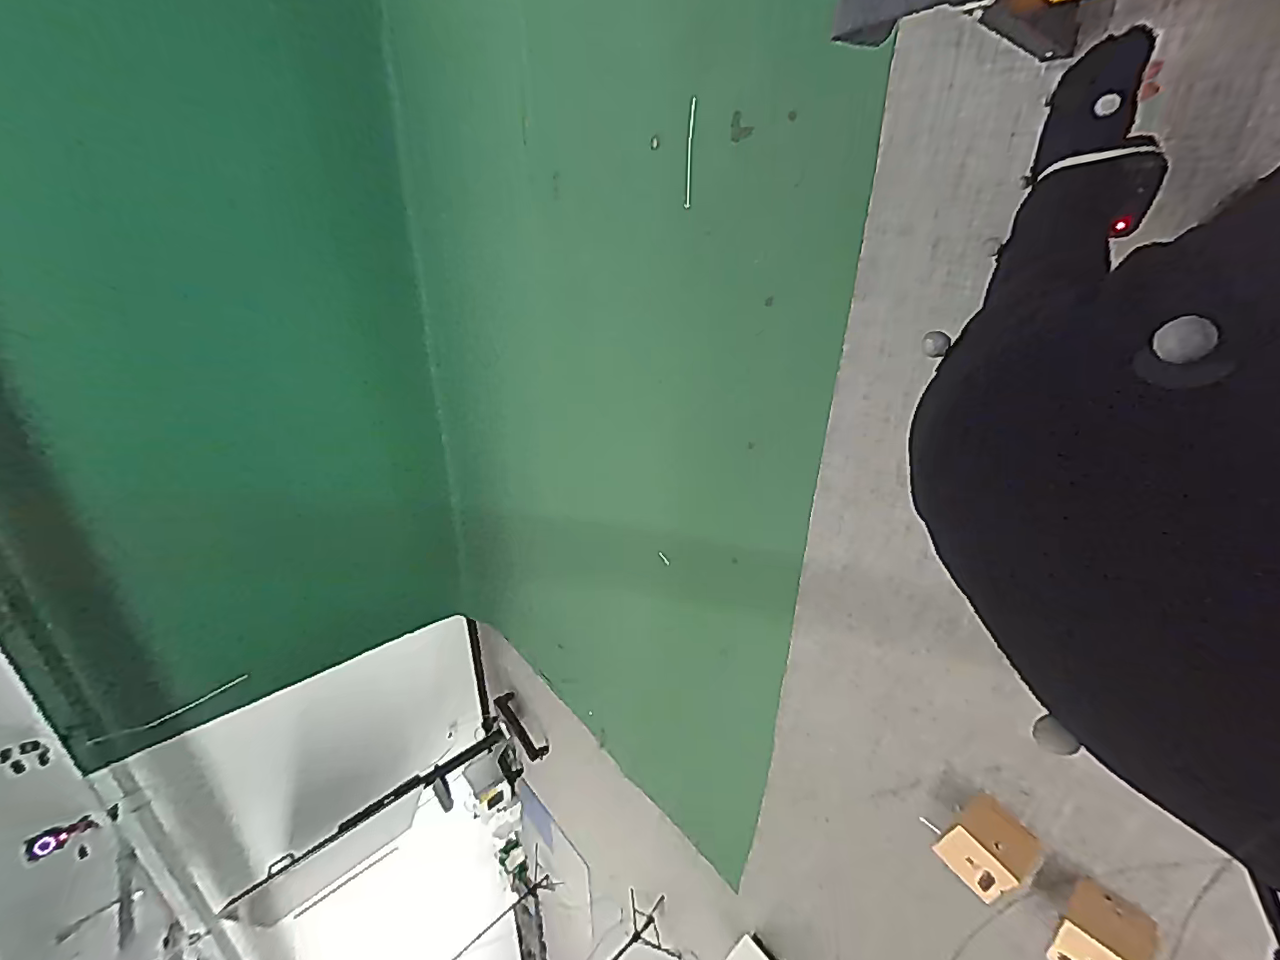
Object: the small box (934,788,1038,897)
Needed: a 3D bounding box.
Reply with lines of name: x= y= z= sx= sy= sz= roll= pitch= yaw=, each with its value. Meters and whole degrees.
small box: x=1.013 y=1.053 z=1.579 sx=0.179 sy=0.176 sz=0.168 roll=41 pitch=134 yaw=34
